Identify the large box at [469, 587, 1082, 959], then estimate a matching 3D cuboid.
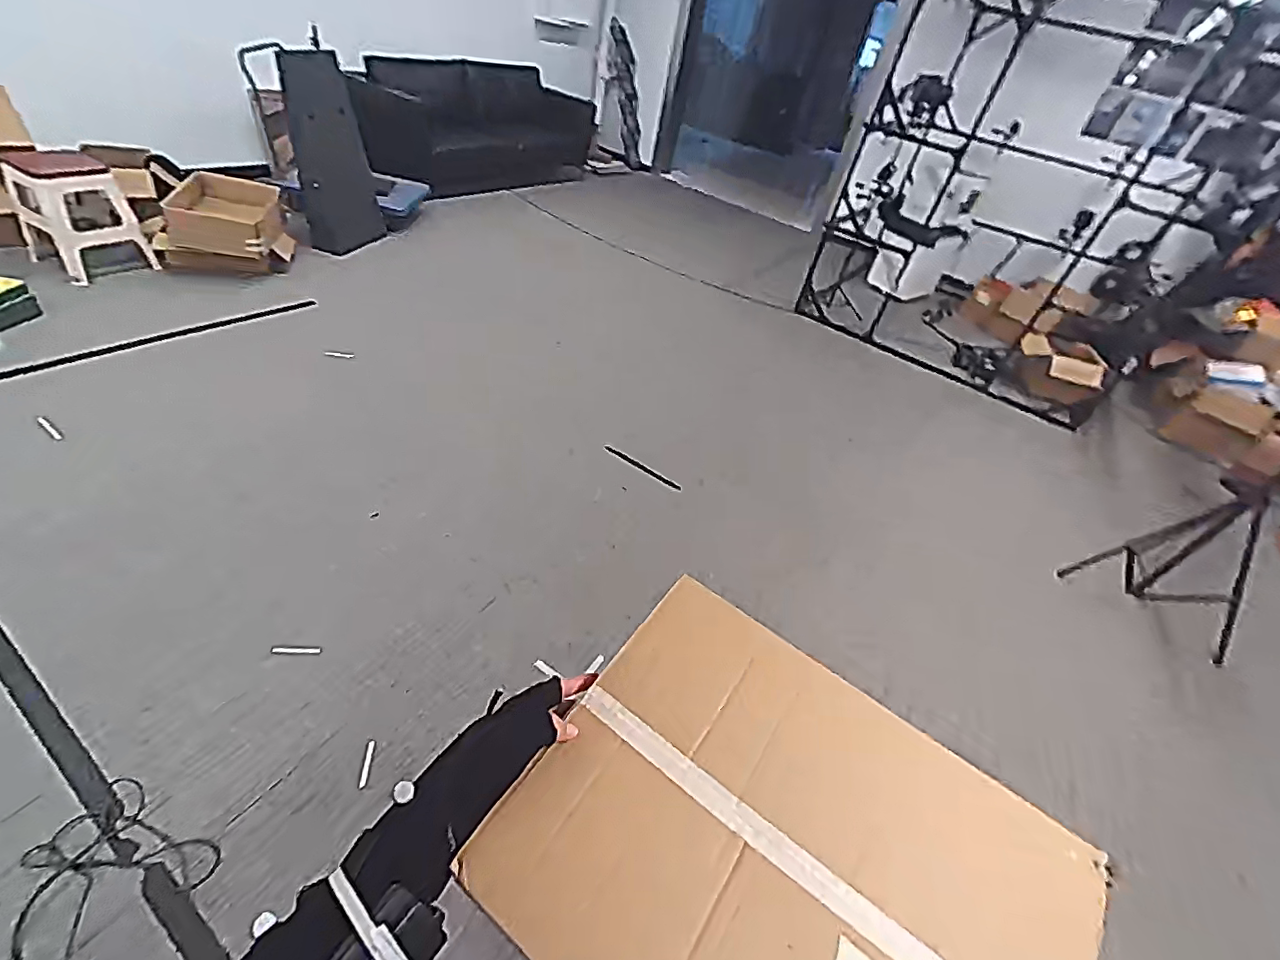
[{"bbox_3d":[0.100,0.389,0.531,0.408,0.320,0.320,32,53,19],"label":"large box"}]
